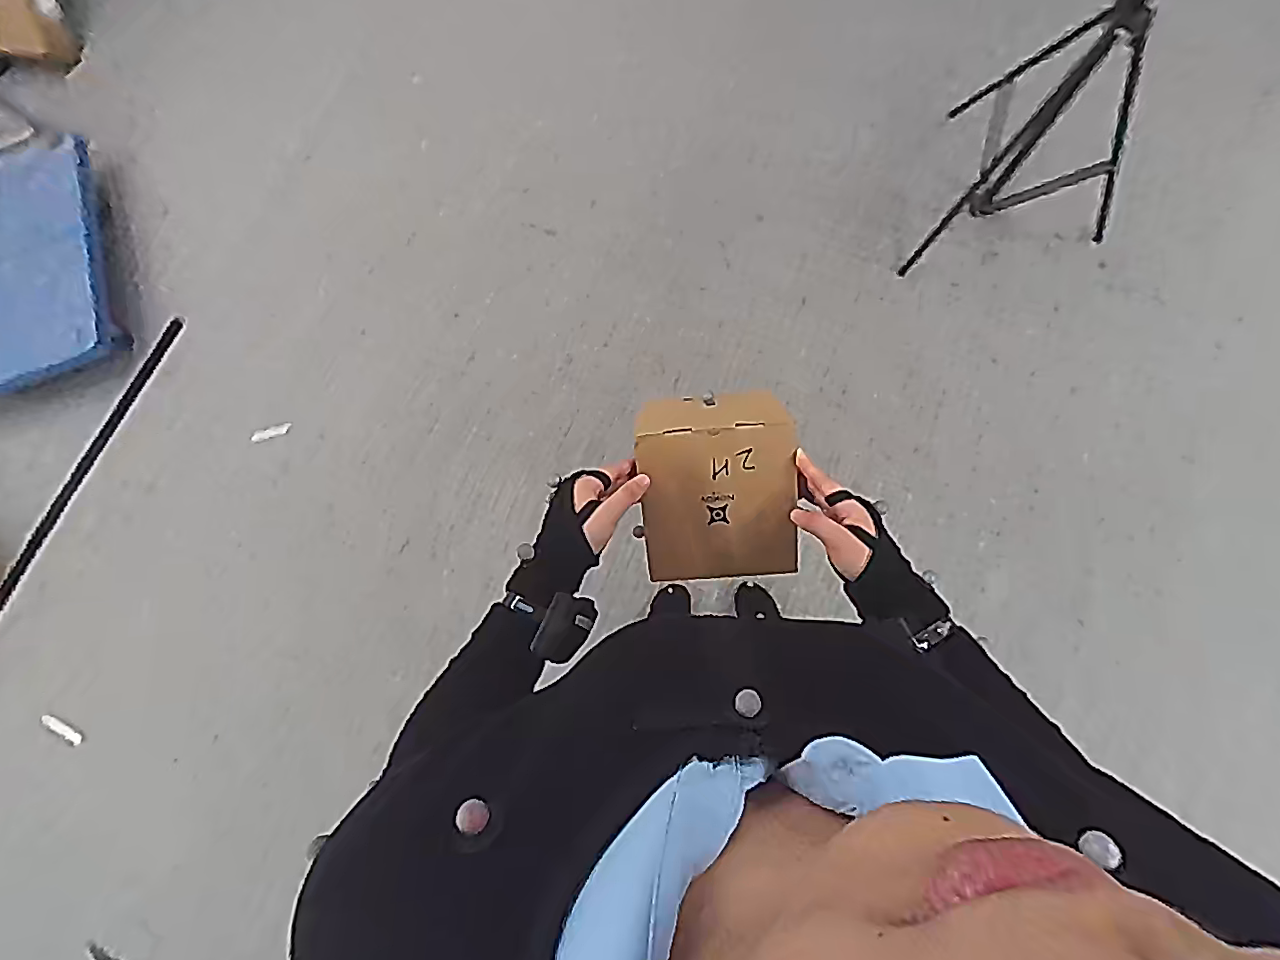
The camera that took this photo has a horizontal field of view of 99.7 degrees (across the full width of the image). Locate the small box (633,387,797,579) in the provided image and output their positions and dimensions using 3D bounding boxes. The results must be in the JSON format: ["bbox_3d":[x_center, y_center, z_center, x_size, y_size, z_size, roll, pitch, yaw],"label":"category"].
[{"bbox_3d":[0.084,-0.004,0.644,0.168,0.176,0.179,-5,110,3],"label":"small box"}]
